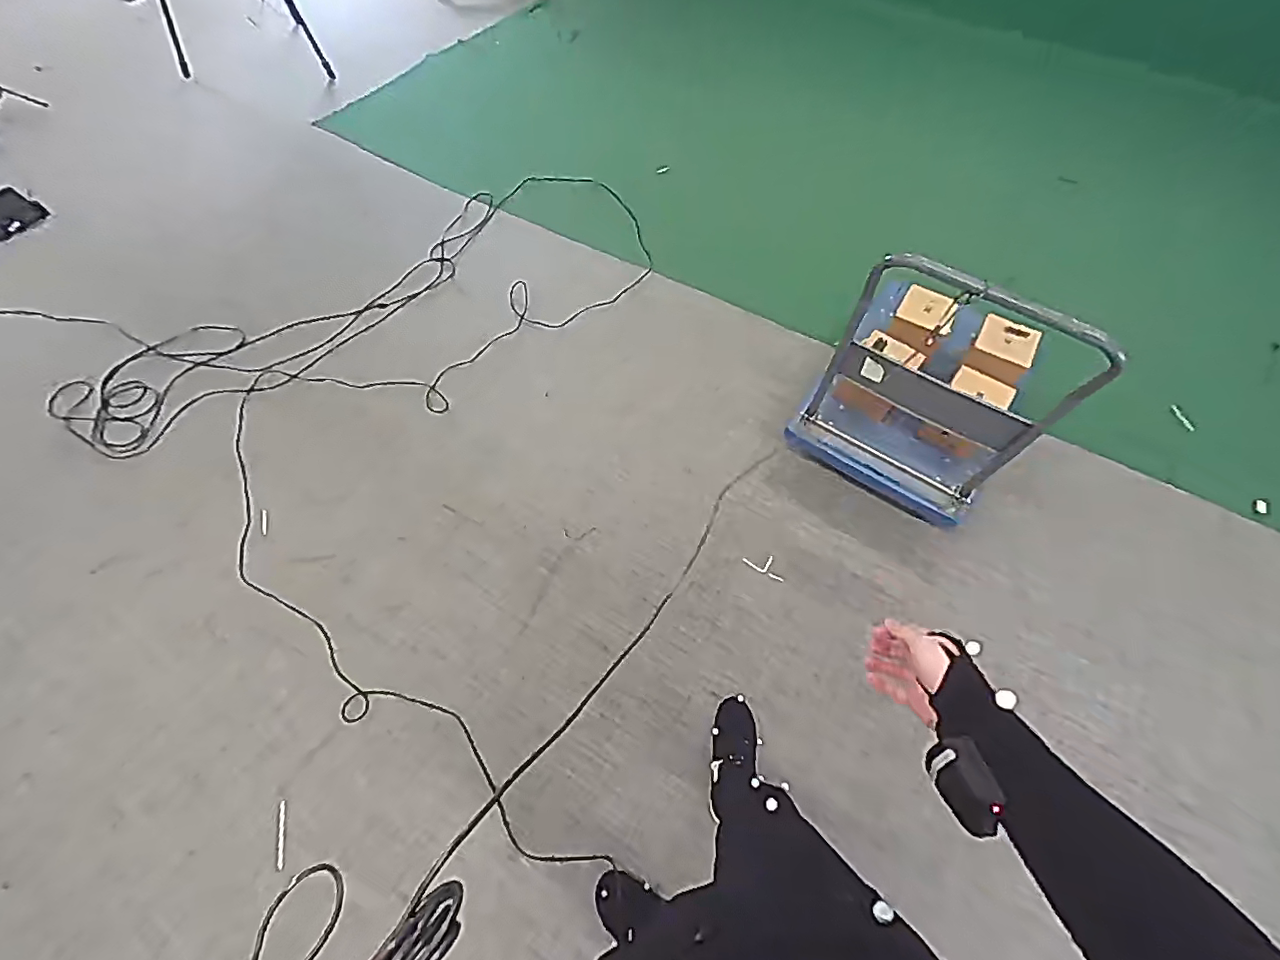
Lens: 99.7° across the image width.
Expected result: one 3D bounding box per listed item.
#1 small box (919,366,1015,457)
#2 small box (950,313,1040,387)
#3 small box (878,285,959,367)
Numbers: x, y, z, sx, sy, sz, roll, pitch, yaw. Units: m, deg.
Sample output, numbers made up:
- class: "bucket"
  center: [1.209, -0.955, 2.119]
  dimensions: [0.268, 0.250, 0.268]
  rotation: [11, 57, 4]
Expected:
- class: "small box"
  center: [0.981, -0.204, 1.635]
  dimensions: [0.168, 0.176, 0.179]
  rotation: [33, 66, 17]
- class: "small box"
  center: [1.139, -0.395, 1.744]
  dimensions: [0.168, 0.176, 0.179]
  rotation: [28, 65, 16]
- class: "small box"
  center: [0.925, -0.510, 1.809]
  dimensions: [0.168, 0.176, 0.179]
  rotation: [29, 64, 14]
